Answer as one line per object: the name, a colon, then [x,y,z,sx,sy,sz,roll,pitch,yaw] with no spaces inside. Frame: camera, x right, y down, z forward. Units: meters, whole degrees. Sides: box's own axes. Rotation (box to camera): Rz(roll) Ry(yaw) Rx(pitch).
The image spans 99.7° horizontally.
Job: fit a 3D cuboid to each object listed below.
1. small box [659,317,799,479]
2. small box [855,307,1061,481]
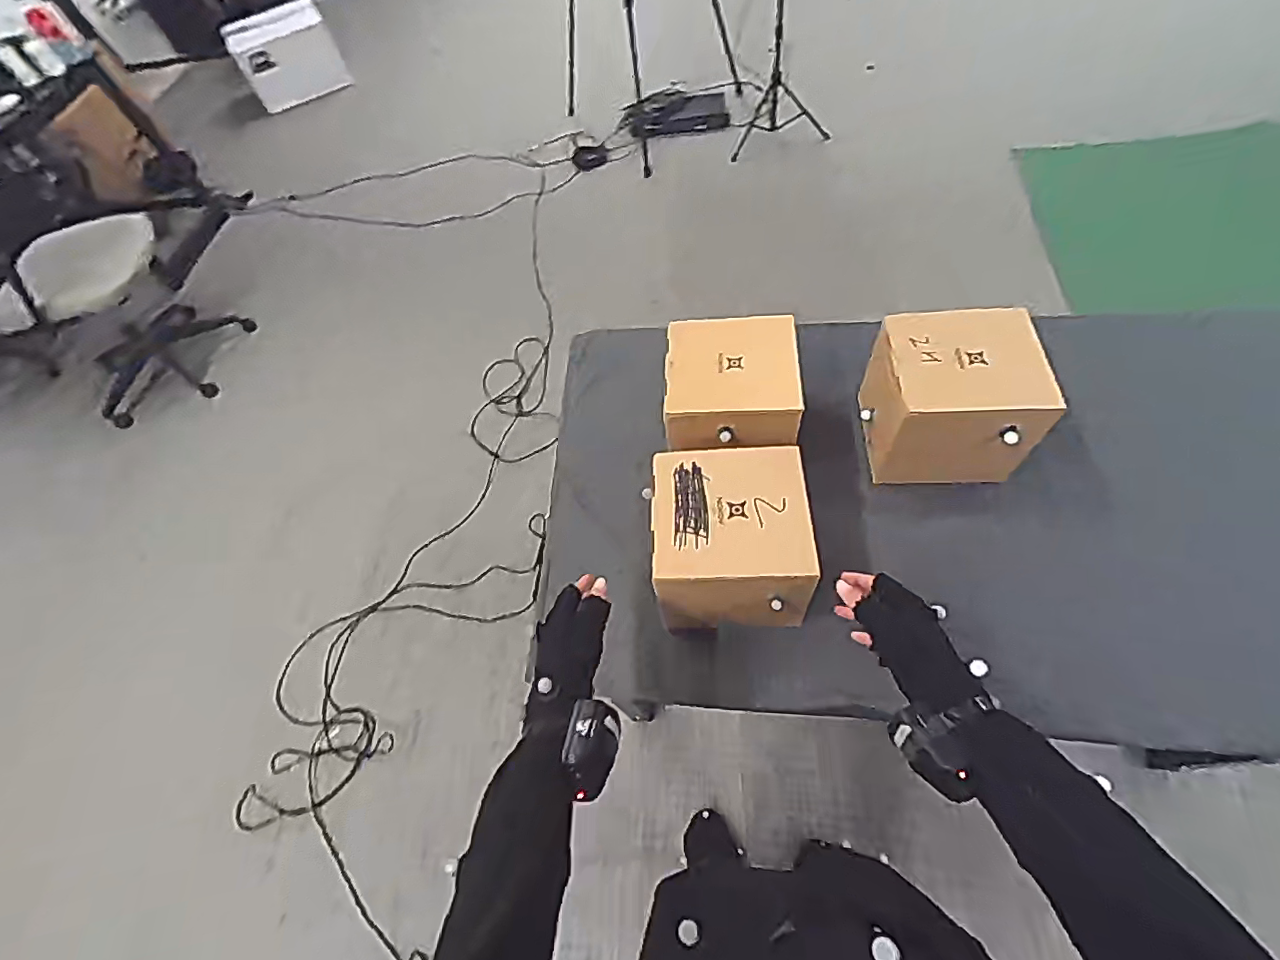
small box: [0.125,-0.111,0.783,0.179,0.176,0.168,-2,59,9]
small box: [0.407,-0.109,0.730,0.179,0.176,0.168,-1,59,9]
